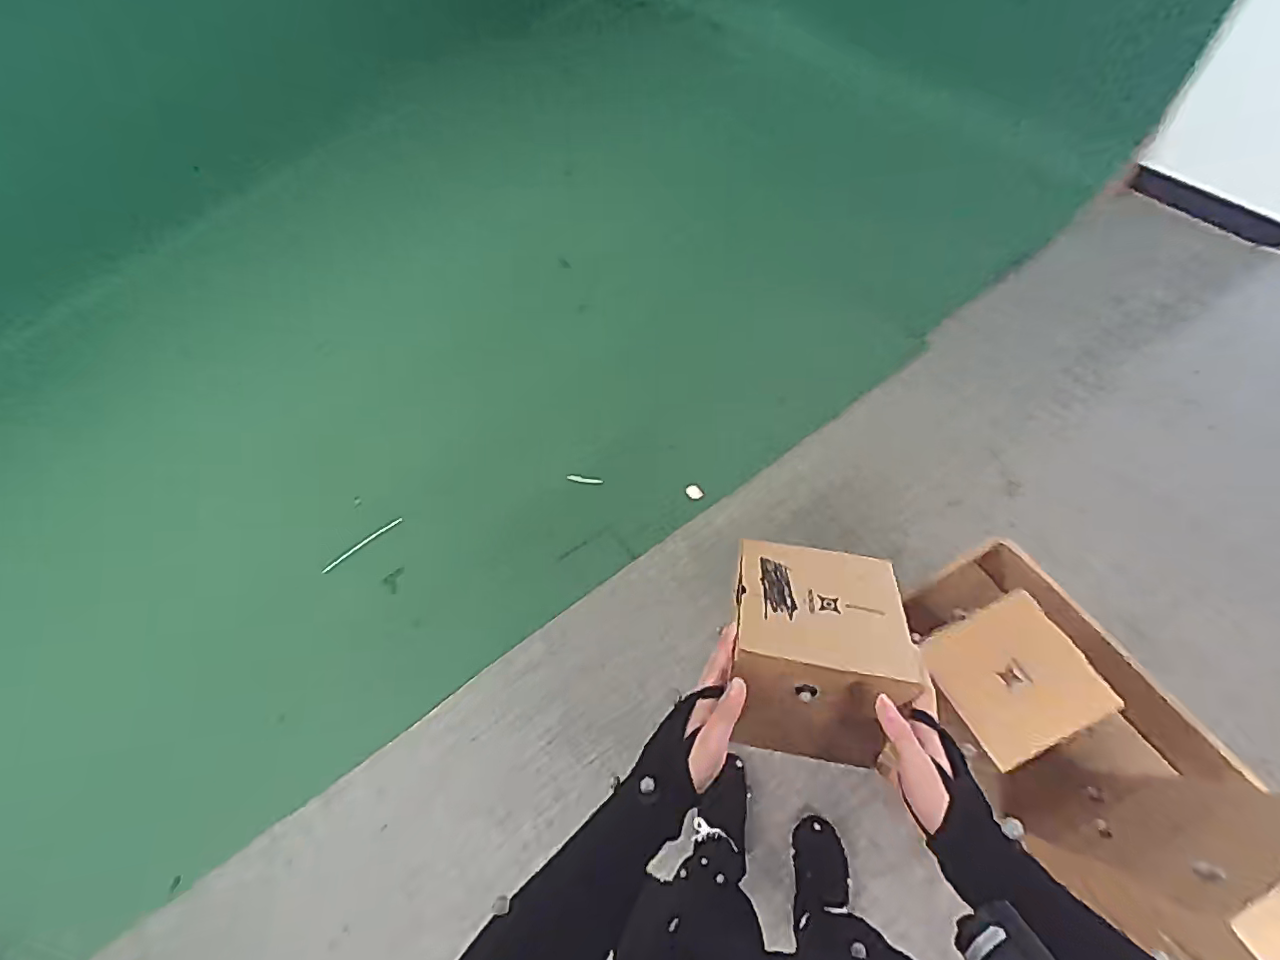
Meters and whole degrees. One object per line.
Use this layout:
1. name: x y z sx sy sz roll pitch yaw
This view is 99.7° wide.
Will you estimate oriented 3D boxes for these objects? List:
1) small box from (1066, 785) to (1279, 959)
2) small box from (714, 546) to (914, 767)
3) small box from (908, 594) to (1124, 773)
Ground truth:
1. small box: 0.649 0.483 0.628 0.179 0.176 0.168 -31 63 -2
2. small box: 0.182 0.201 0.622 0.179 0.176 0.168 8 37 6
3. small box: 0.497 0.289 0.760 0.179 0.176 0.168 -28 61 -1
